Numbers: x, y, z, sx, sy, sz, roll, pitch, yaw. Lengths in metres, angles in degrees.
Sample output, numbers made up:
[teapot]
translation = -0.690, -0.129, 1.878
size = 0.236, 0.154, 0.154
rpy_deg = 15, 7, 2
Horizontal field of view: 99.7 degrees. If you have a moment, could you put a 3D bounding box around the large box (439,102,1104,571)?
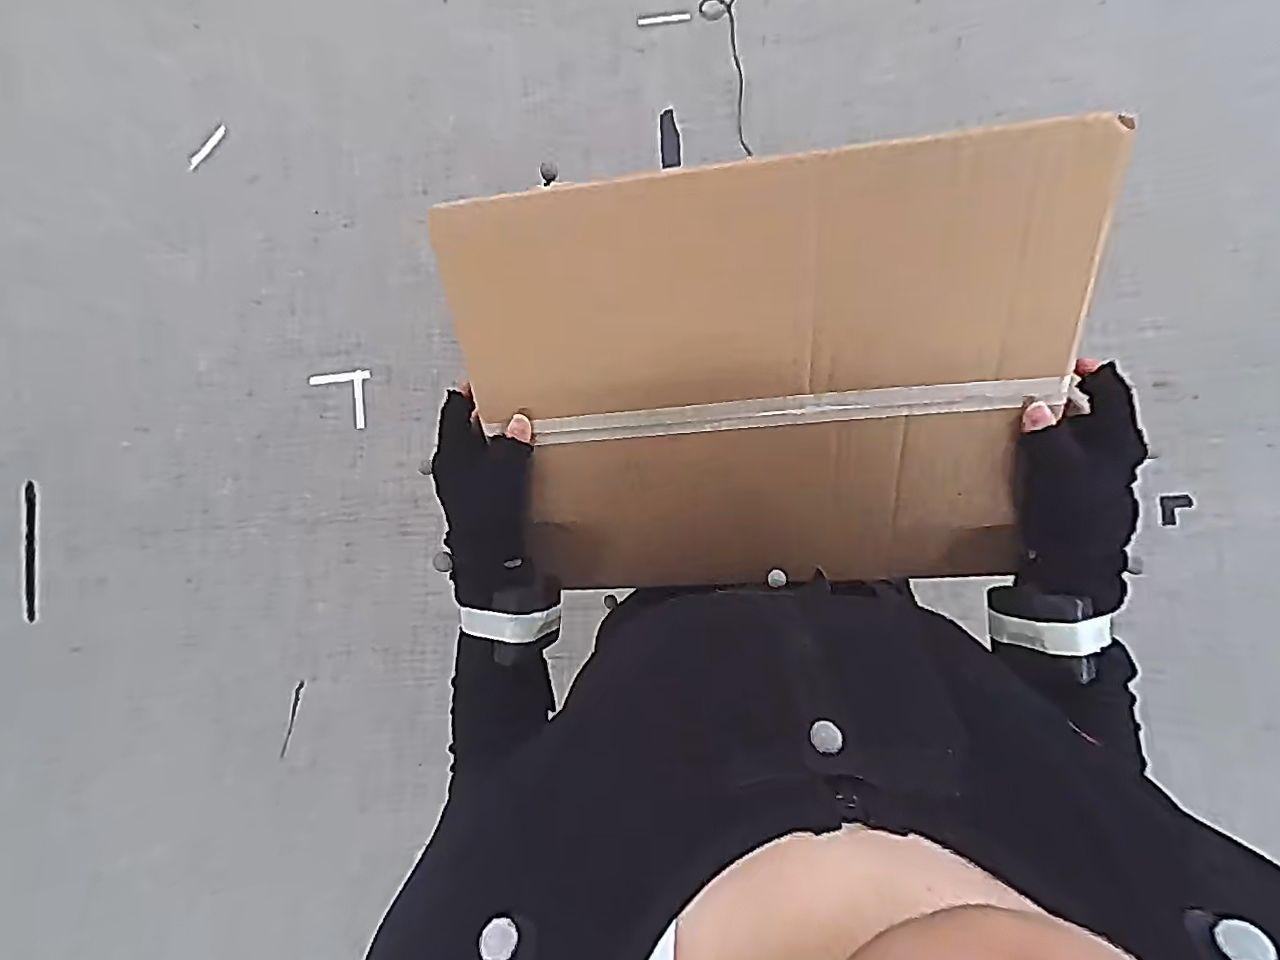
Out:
[large box]
translation = 0.092, -0.135, 0.525
size = 0.408, 0.320, 0.320
rpy_deg = -3, 121, 8
